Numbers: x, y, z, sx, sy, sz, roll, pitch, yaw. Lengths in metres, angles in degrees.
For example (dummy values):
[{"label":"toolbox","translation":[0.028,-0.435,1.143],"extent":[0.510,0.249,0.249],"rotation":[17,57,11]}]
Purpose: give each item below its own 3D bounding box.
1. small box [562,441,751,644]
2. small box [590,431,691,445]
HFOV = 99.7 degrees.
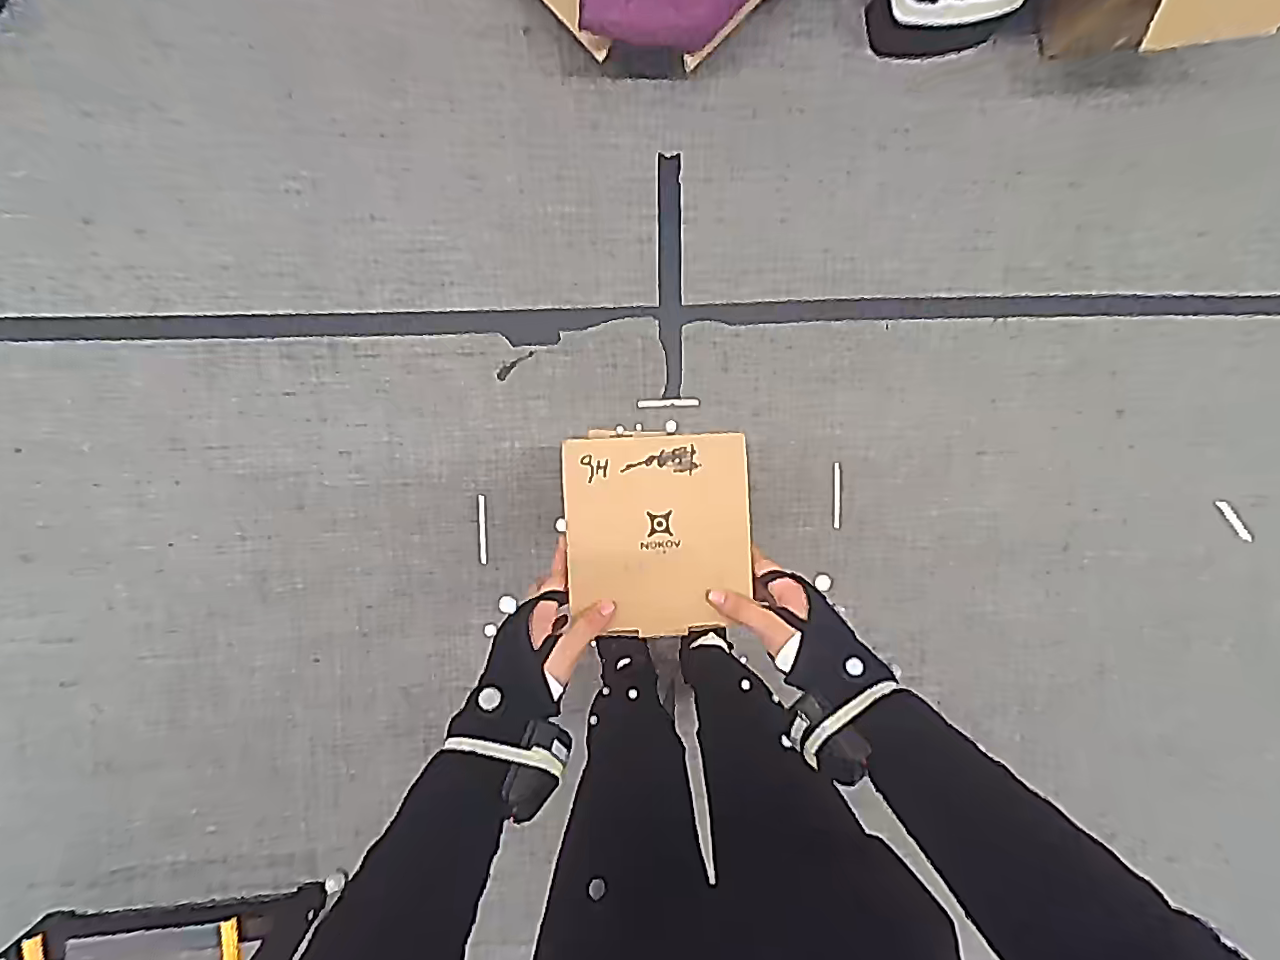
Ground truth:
[{"label":"small box","translation":[0.011,0.050,0.551],"extent":[0.168,0.176,0.179],"rotation":[-2,92,-4]},{"label":"small box","translation":[-0.008,0.007,0.952],"extent":[0.168,0.176,0.179],"rotation":[2,93,-4]}]
